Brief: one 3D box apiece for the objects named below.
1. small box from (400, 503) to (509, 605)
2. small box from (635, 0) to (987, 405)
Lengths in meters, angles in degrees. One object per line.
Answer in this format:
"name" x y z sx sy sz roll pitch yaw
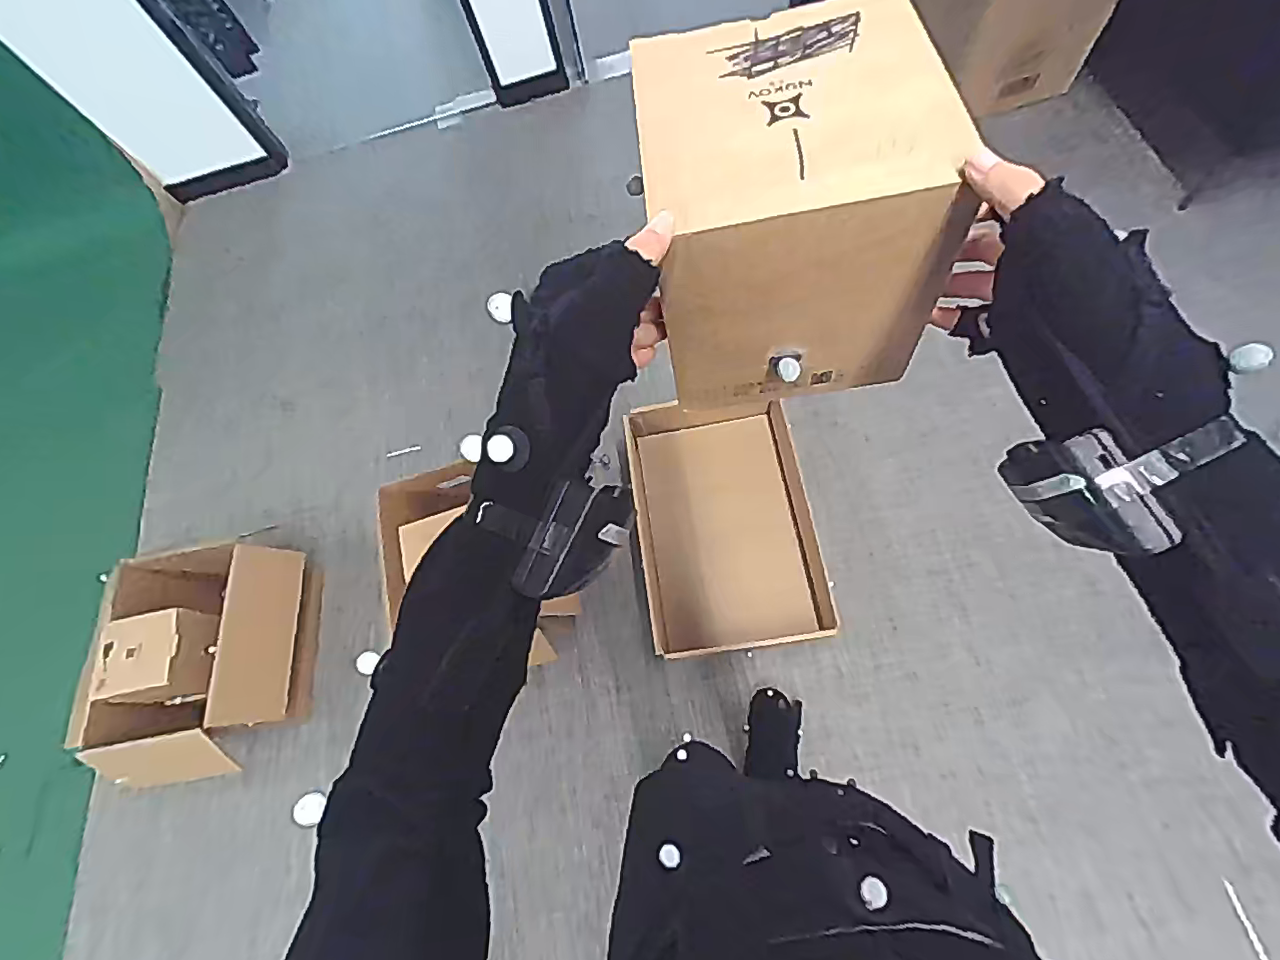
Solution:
"small box" -0.409 0.175 1.214 0.168 0.176 0.179 -18 69 1
"small box" 0.092 -0.176 0.372 0.168 0.176 0.179 -7 65 7
